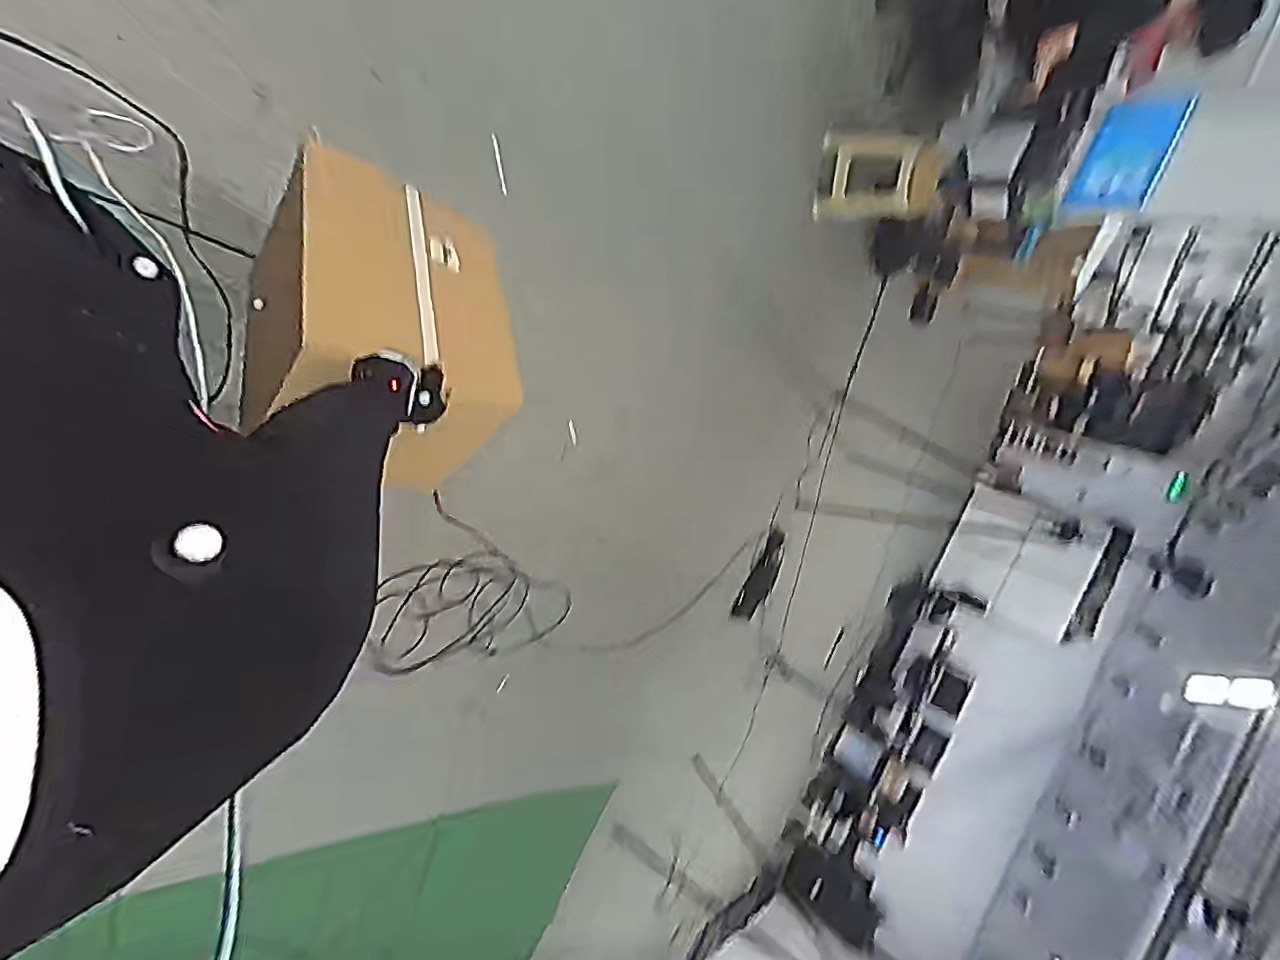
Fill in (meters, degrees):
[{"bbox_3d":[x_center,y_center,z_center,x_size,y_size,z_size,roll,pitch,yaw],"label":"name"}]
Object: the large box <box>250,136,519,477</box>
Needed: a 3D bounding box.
[{"bbox_3d":[-0.450,-0.257,0.925,0.320,0.408,0.320,10,145,-45],"label":"large box"}]
